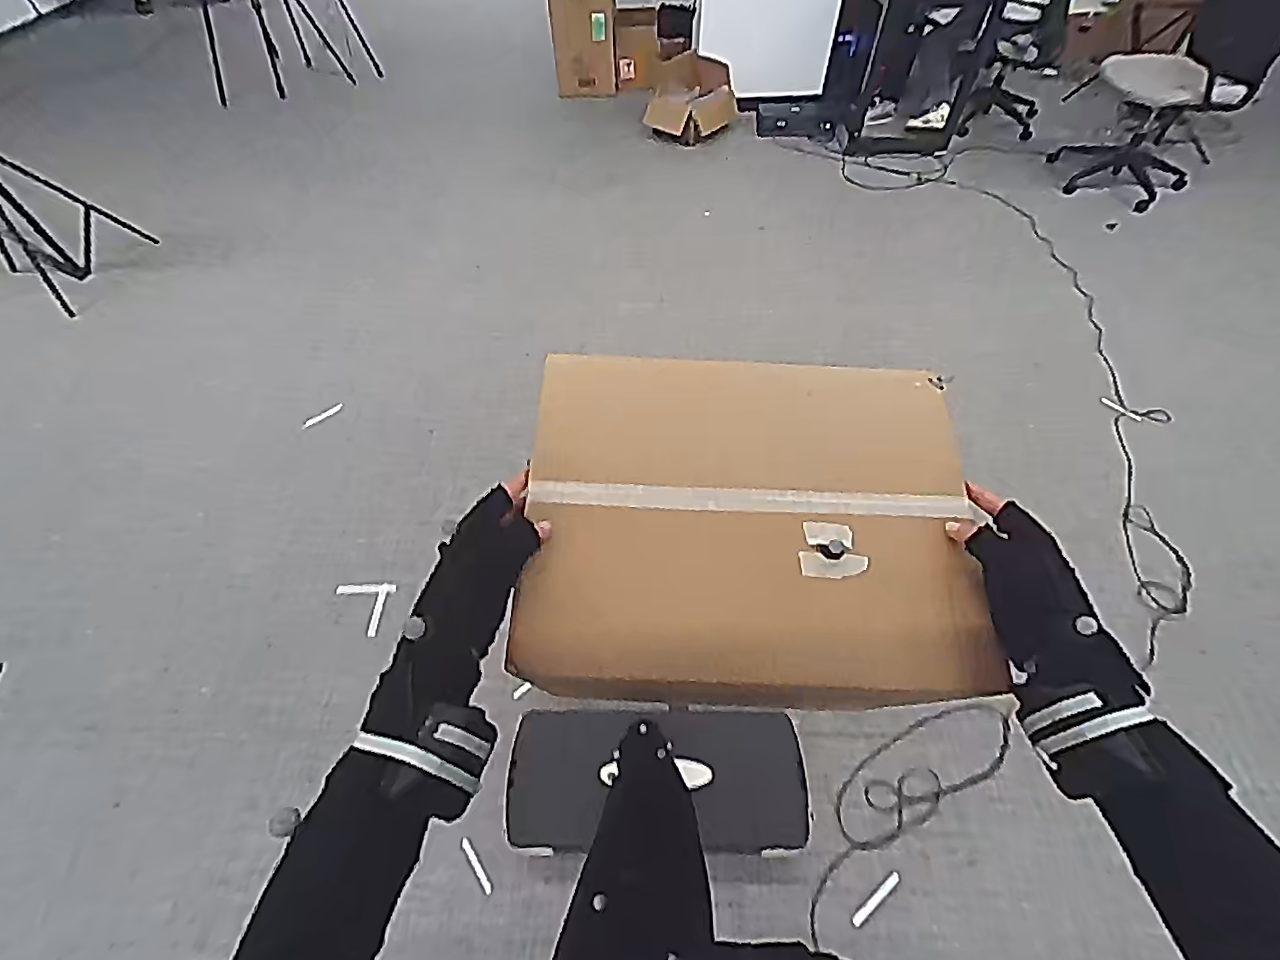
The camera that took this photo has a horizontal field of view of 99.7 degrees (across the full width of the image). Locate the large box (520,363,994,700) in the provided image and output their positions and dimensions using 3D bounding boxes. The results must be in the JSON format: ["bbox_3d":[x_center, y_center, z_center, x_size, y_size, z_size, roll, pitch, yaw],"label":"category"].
[{"bbox_3d":[0.093,0.084,0.640,0.408,0.320,0.320,2,65,-1],"label":"large box"}]
